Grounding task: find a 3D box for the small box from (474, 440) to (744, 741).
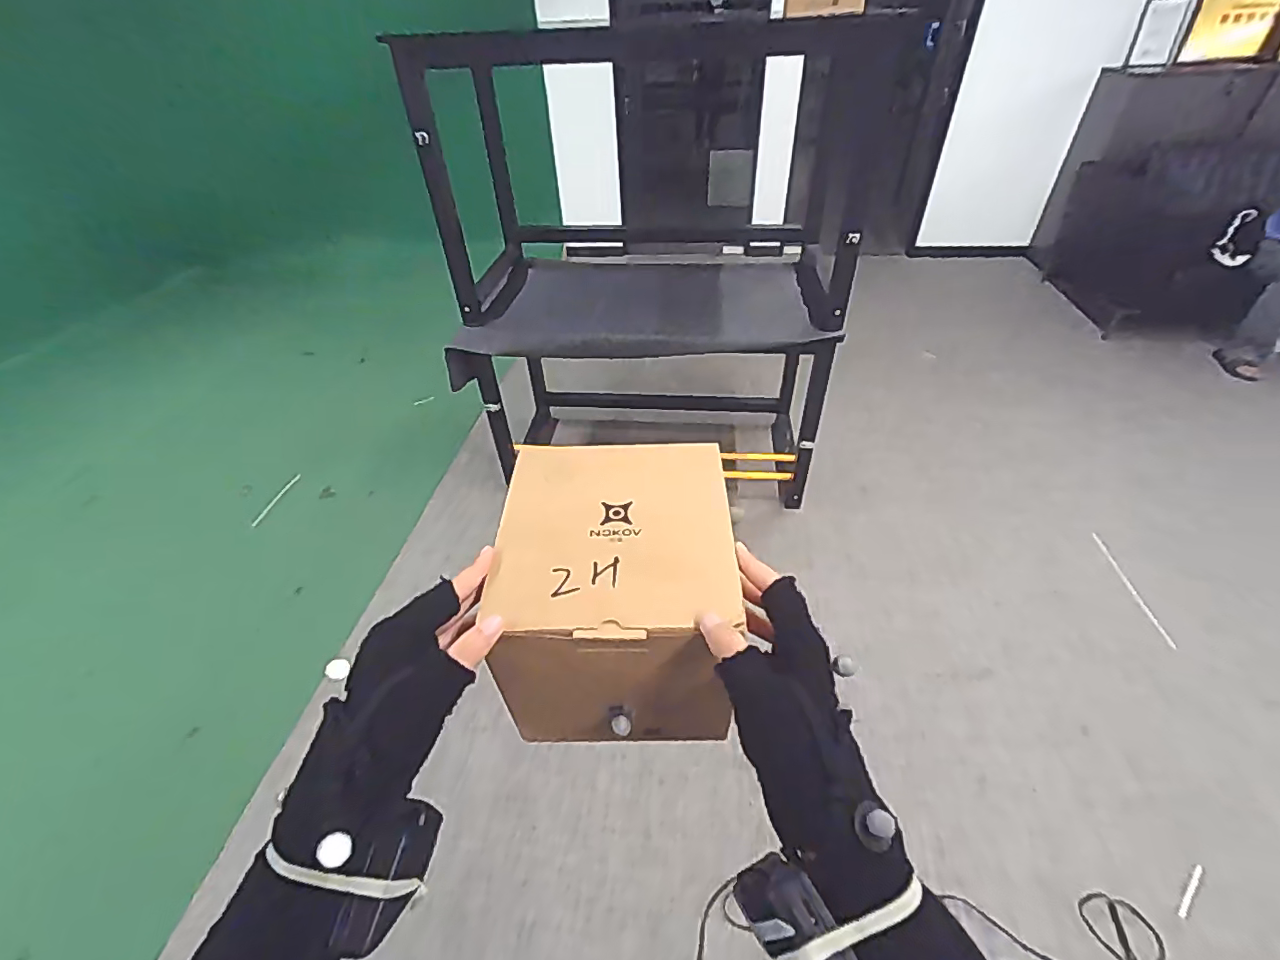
[{"bbox_3d":[-0.015,0.085,0.436,0.168,0.176,0.179,-1,42,2],"label":"small box"}]
